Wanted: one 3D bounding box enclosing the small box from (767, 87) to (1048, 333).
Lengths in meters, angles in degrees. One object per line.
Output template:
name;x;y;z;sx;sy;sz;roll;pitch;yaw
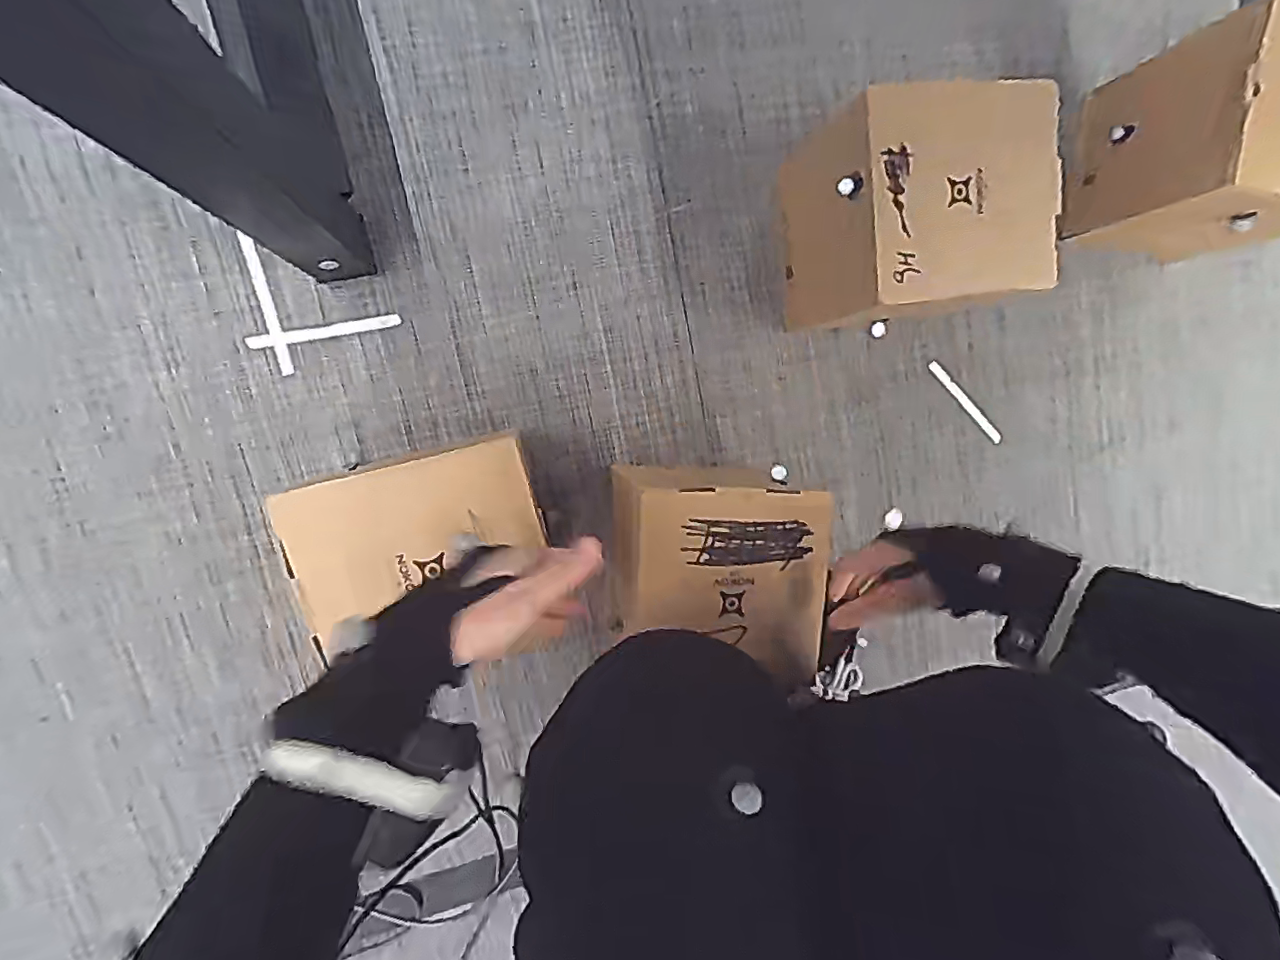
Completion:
small box;0.242;-0.239;0.516;0.179;0.176;0.168;-9;99;-11

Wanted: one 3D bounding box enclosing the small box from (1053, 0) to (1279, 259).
small box;0.601;-0.349;0.578;0.179;0.176;0.168;4;96;-11
